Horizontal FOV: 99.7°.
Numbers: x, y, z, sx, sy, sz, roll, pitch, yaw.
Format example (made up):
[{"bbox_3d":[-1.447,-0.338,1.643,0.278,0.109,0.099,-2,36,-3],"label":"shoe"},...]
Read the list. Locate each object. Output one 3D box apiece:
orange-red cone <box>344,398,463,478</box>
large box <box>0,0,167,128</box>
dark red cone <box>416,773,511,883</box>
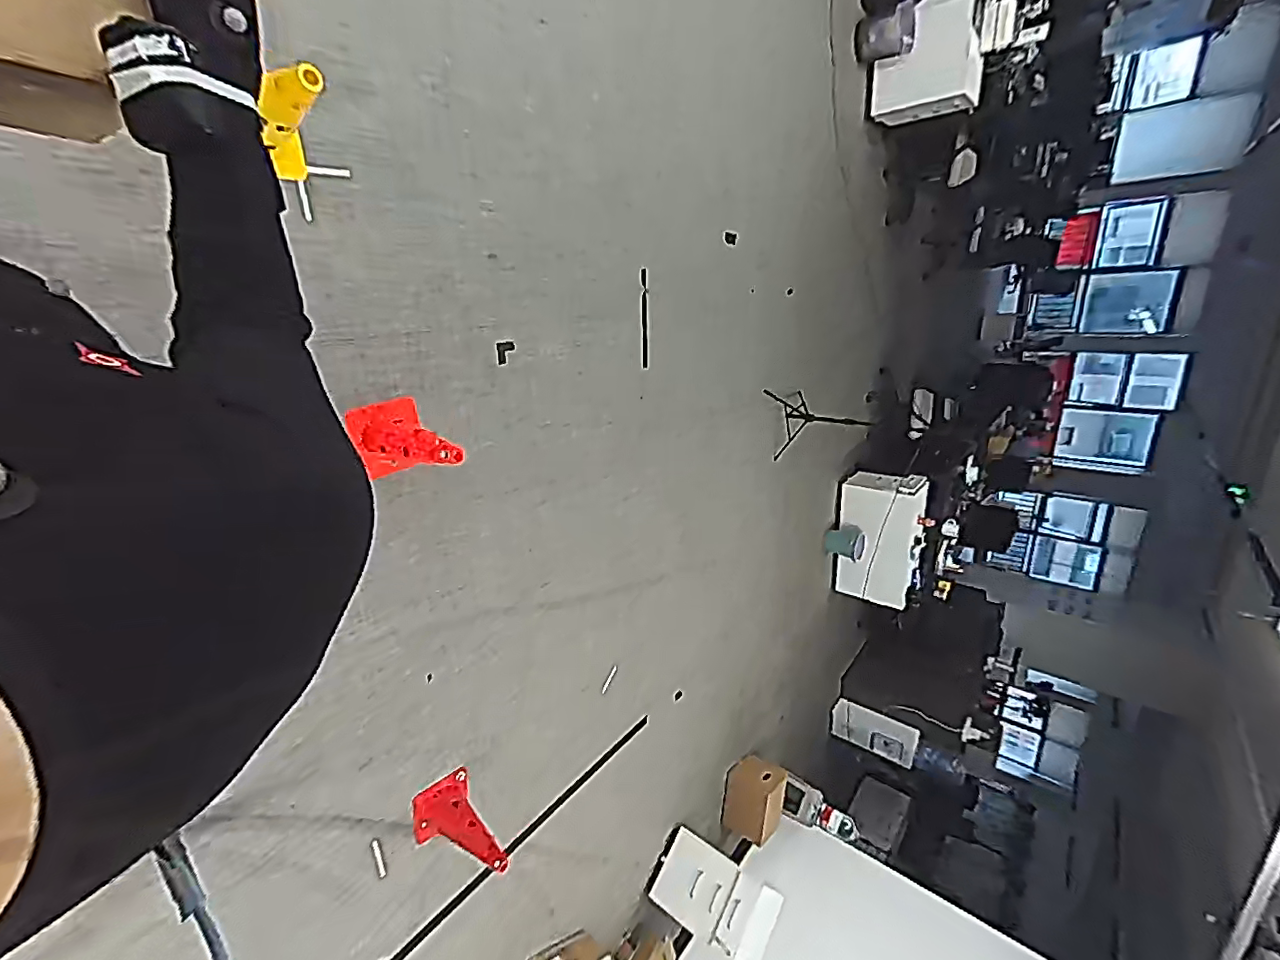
[{"bbox_3d":[-0.578,-0.093,1.406,0.198,0.360,0.199,-27,119,-46],"label":"orange-red cone"},{"bbox_3d":[-0.571,-0.426,0.281,0.408,0.320,0.320,-18,120,-49],"label":"large box"},{"bbox_3d":[-0.548,1.160,1.754,0.201,0.394,0.202,-15,111,-47],"label":"dark red cone"}]
